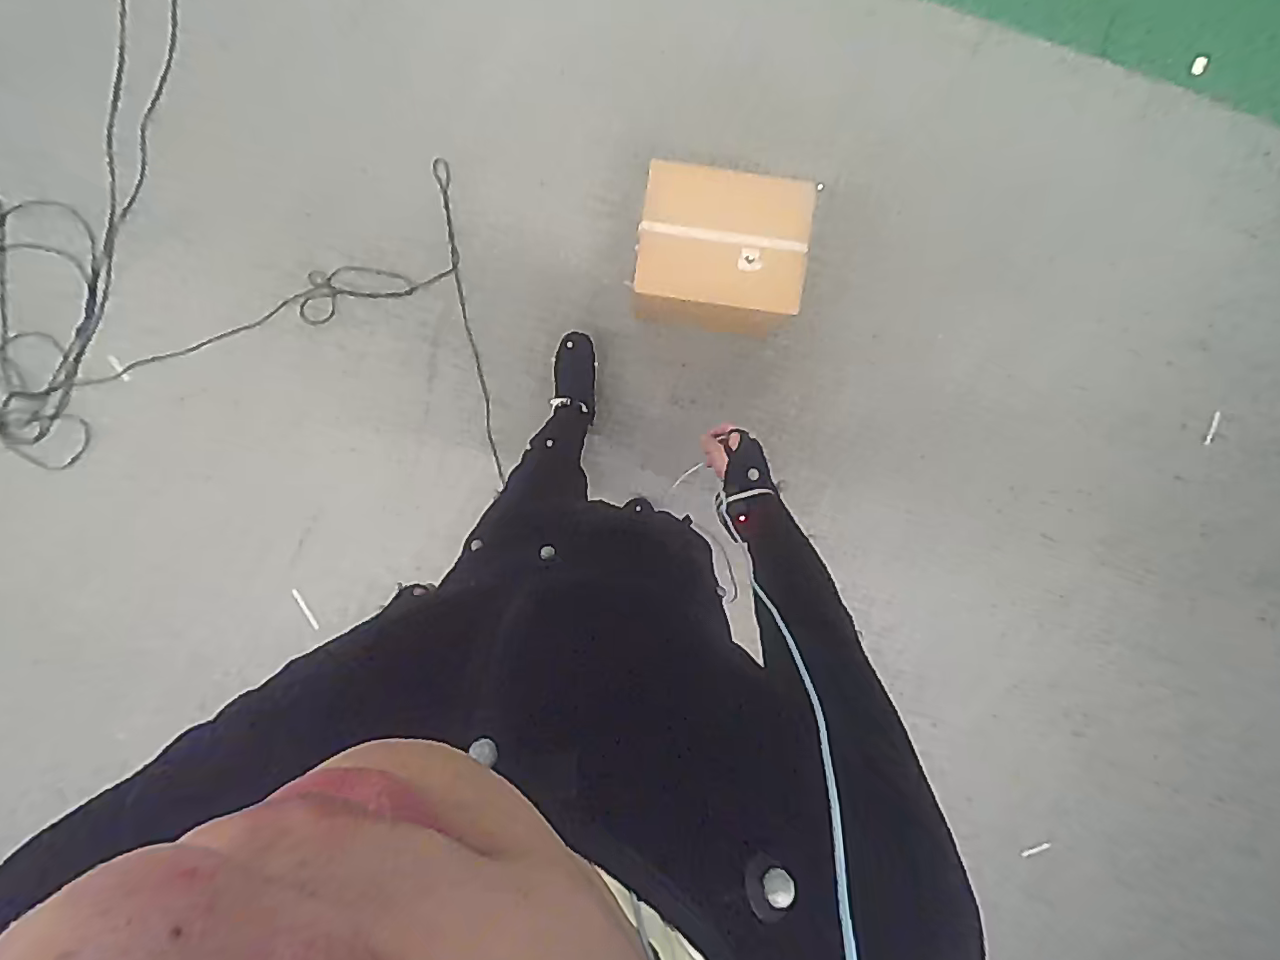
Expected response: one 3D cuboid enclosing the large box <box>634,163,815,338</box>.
[{"bbox_3d":[0.198,-0.582,1.434,0.408,0.320,0.320,8,94,-2],"label":"large box"}]
